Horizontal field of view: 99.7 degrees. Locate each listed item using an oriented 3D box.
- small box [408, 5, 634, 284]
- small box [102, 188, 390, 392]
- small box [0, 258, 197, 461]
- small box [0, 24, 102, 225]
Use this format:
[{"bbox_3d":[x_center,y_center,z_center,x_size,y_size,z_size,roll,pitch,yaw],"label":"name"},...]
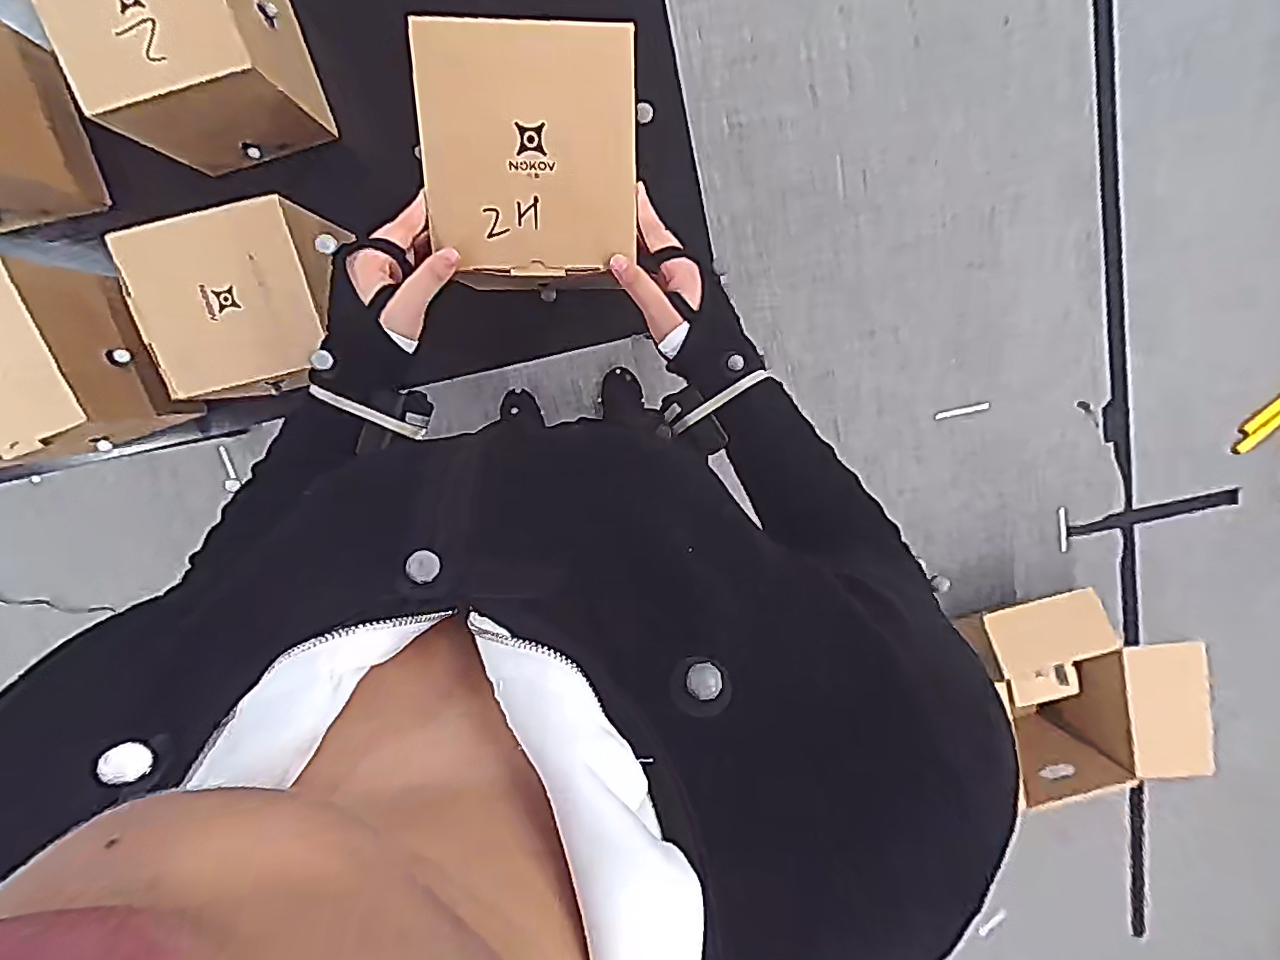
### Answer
[{"bbox_3d":[-0.094,-0.280,0.493,0.168,0.176,0.179,-2,106,-4],"label":"small box"},{"bbox_3d":[-0.422,-0.201,0.616,0.179,0.176,0.168,-14,102,-1],"label":"small box"},{"bbox_3d":[-0.670,-0.132,0.617,0.168,0.176,0.179,-19,102,1],"label":"small box"},{"bbox_3d":[-0.740,-0.388,0.562,0.168,0.176,0.179,-12,102,0],"label":"small box"}]
